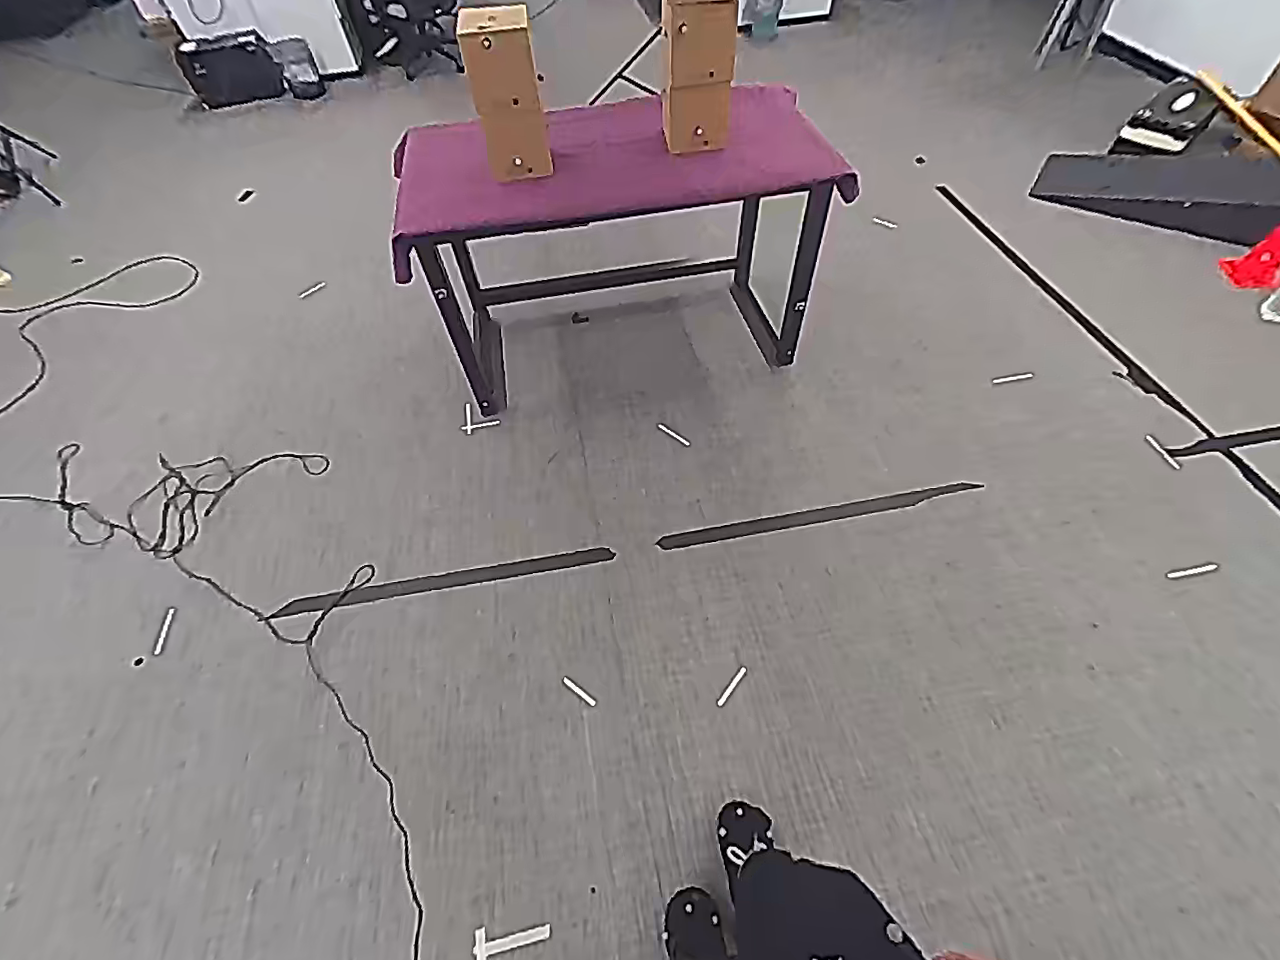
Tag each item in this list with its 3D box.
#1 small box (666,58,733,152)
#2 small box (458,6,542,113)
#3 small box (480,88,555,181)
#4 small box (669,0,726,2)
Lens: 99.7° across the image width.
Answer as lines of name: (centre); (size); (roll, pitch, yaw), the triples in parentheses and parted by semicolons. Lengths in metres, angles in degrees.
small box: (0.161, -1.060, 1.530); (0.168, 0.176, 0.179); (-6, 55, 0)
small box: (-0.341, -1.045, 1.347); (0.168, 0.176, 0.179); (-8, 54, -2)
small box: (-0.332, -0.950, 1.481); (0.168, 0.176, 0.179); (-9, 55, -3)
small box: (0.142, -1.243, 1.260); (0.168, 0.176, 0.179); (-4, 53, 0)
